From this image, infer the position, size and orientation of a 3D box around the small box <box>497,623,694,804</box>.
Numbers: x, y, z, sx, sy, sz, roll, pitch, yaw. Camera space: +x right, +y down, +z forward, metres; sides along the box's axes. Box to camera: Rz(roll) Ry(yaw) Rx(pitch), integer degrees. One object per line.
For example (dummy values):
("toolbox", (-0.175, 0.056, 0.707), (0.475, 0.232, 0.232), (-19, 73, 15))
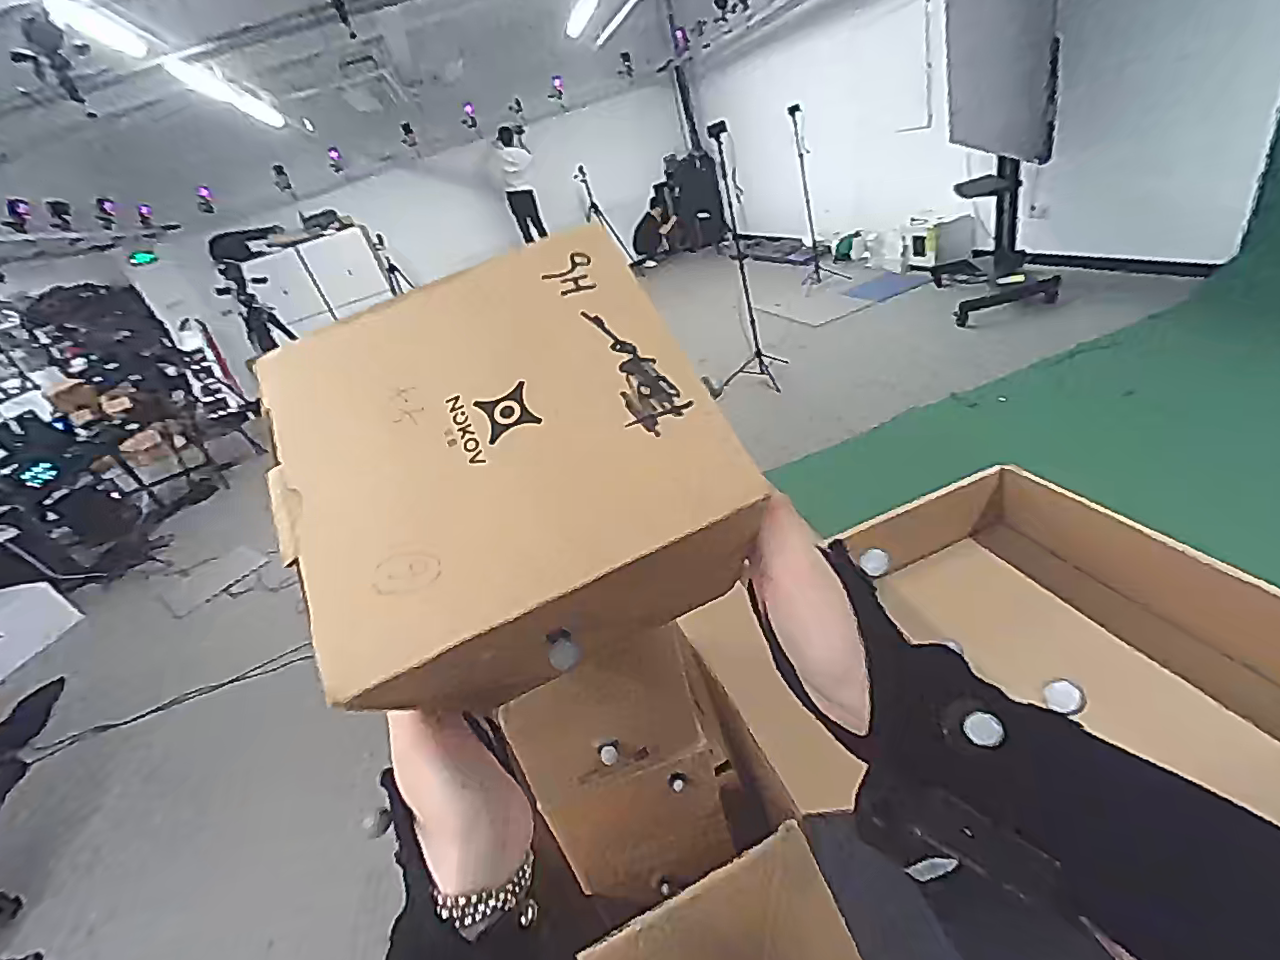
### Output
("small box", (-0.058, 0.182, 0.558), (0.168, 0.176, 0.179), (-19, 28, -10))

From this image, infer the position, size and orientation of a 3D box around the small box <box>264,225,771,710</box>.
("small box", (-0.053, 0.010, 0.296), (0.179, 0.176, 0.168), (-25, 68, -6))
